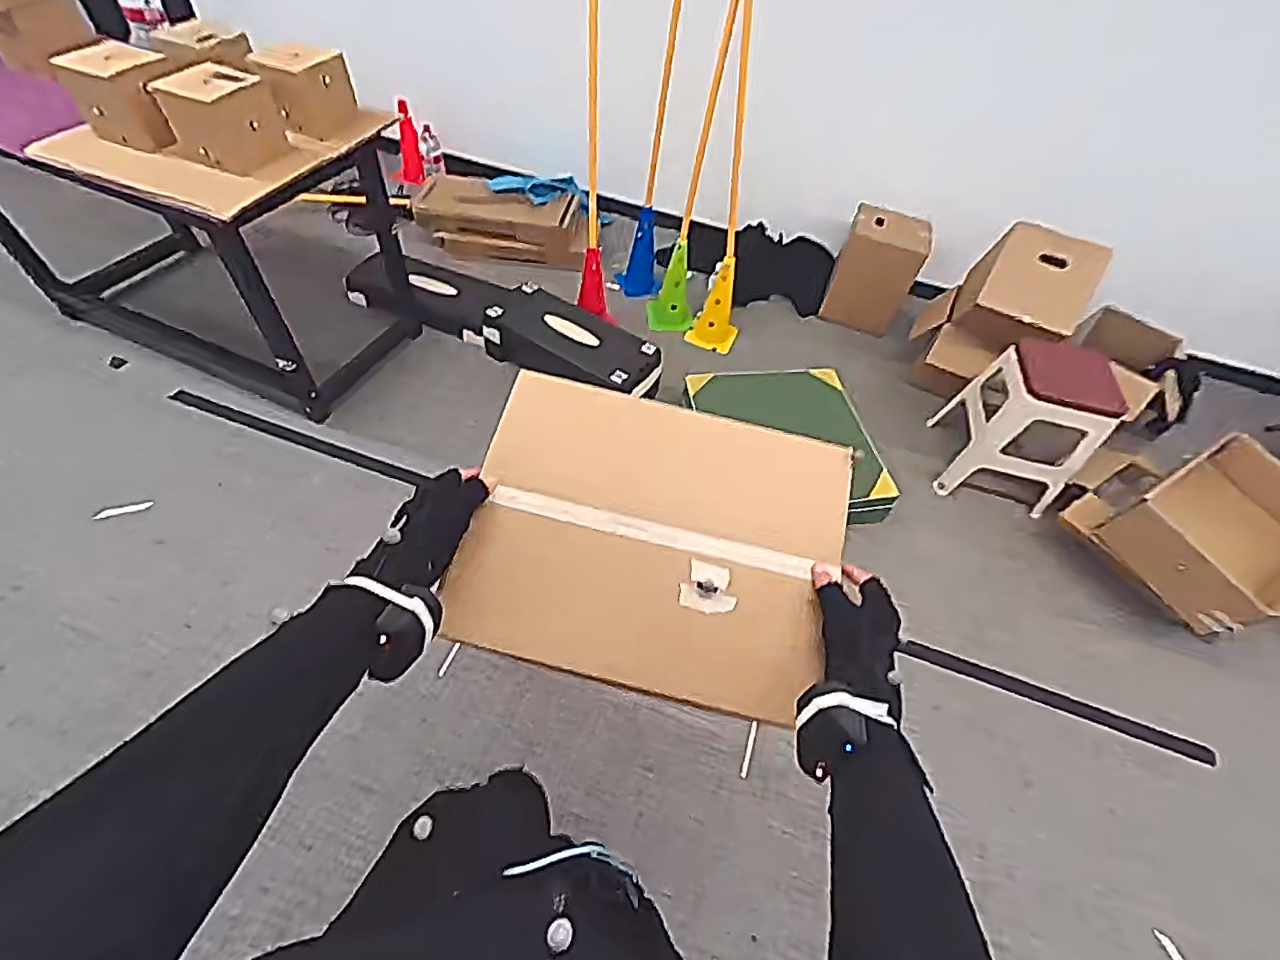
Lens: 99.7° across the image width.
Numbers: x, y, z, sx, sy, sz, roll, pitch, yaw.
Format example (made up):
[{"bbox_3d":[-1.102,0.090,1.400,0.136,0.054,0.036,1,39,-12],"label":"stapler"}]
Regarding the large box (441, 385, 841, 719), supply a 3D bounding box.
[{"bbox_3d":[0.008,0.115,0.739,0.408,0.320,0.320,13,69,2],"label":"large box"}]
